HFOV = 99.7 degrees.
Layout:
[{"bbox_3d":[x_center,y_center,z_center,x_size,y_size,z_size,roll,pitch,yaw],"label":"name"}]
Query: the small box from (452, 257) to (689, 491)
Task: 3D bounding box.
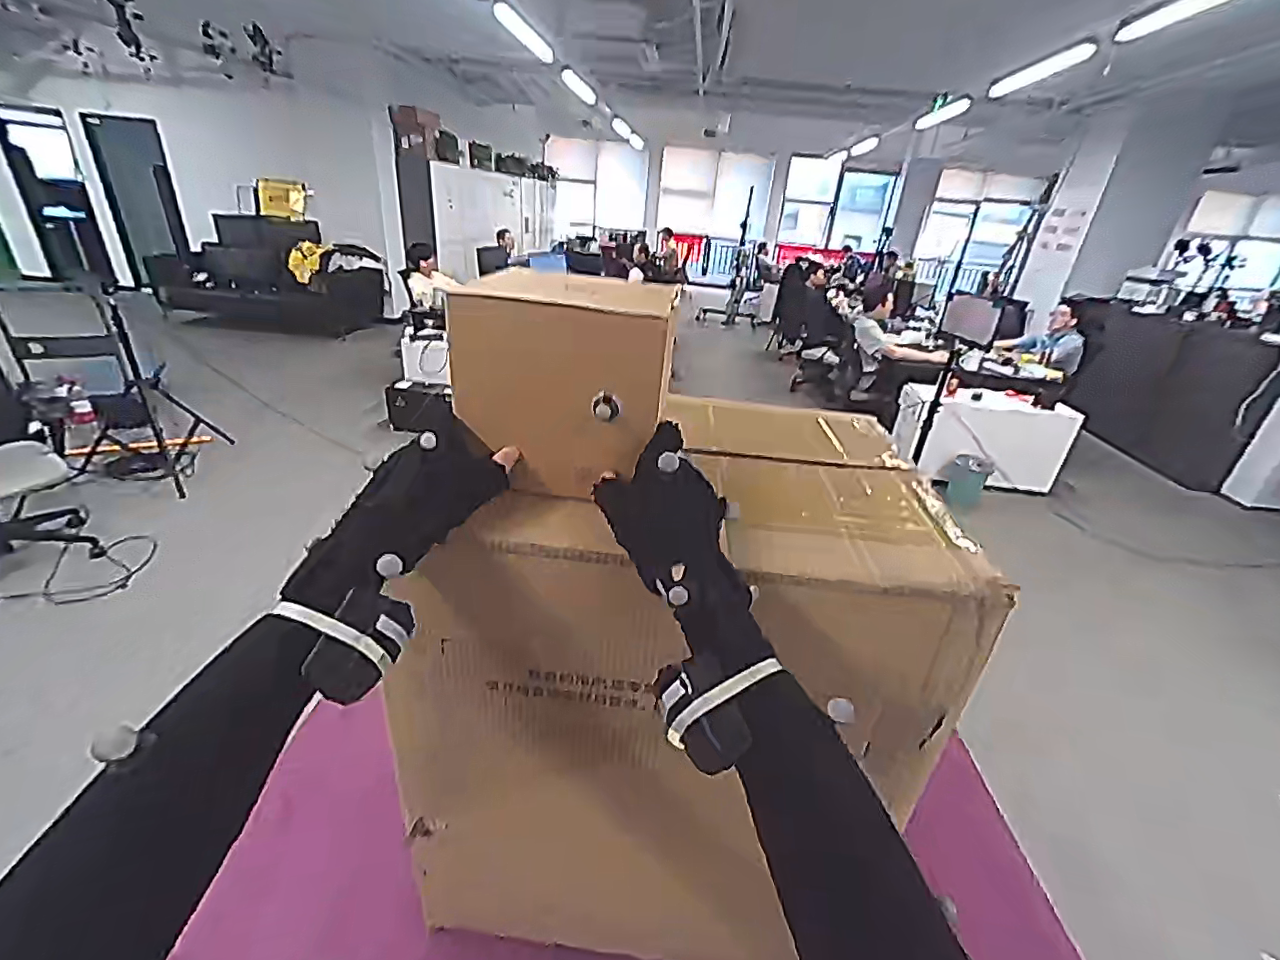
[{"bbox_3d":[-0.054,-0.103,0.506,0.179,0.176,0.168,7,27,3],"label":"small box"}]
